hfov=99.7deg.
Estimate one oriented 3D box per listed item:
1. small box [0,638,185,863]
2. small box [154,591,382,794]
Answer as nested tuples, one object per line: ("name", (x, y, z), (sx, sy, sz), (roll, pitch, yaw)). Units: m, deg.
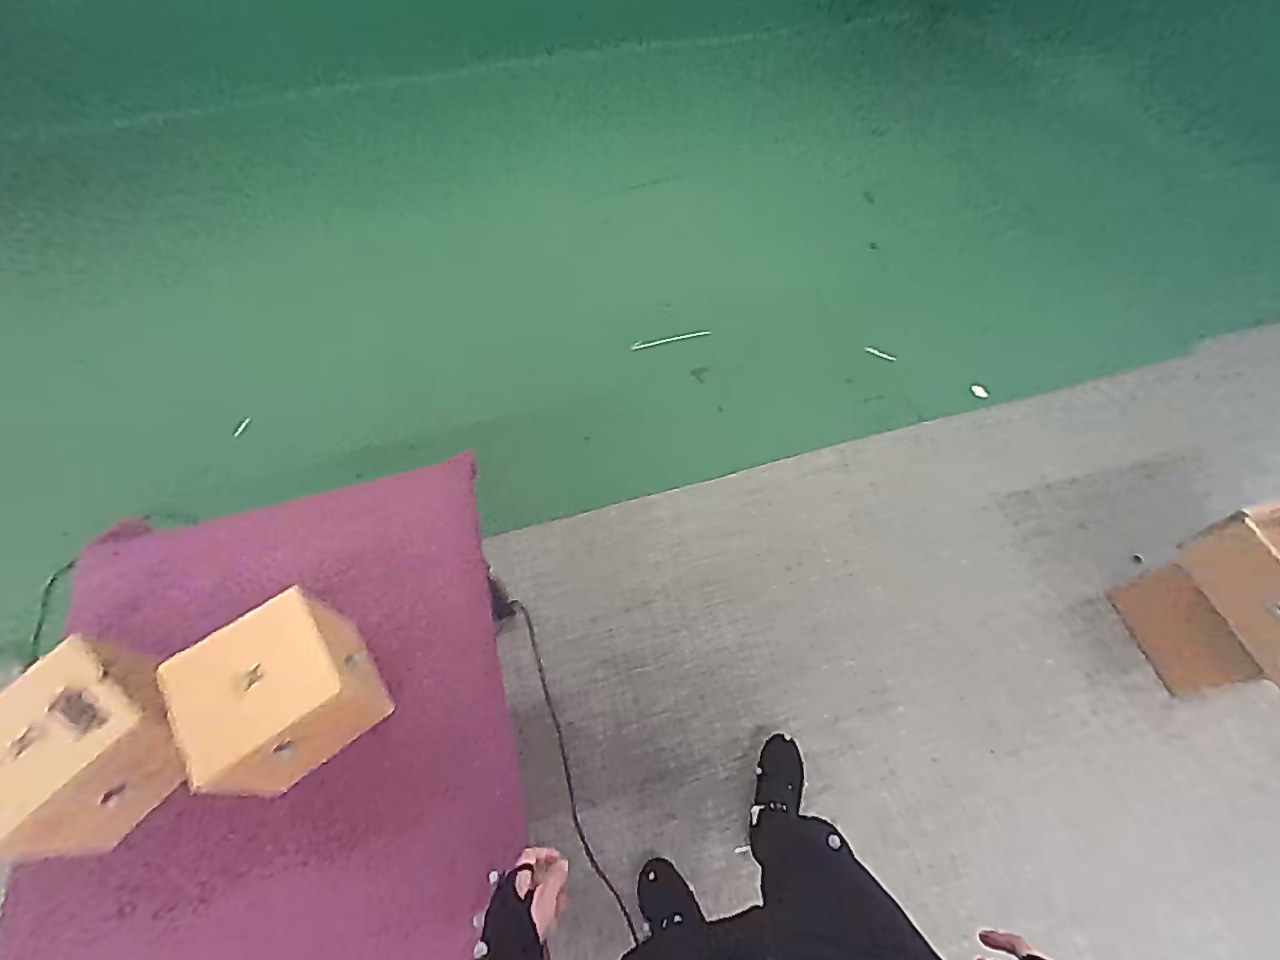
("small box", (-0.697, 0.336, 0.682), (0.168, 0.176, 0.179), (33, 65, 18))
("small box", (-0.472, 0.282, 0.718), (0.179, 0.176, 0.168), (-34, 65, -18))
